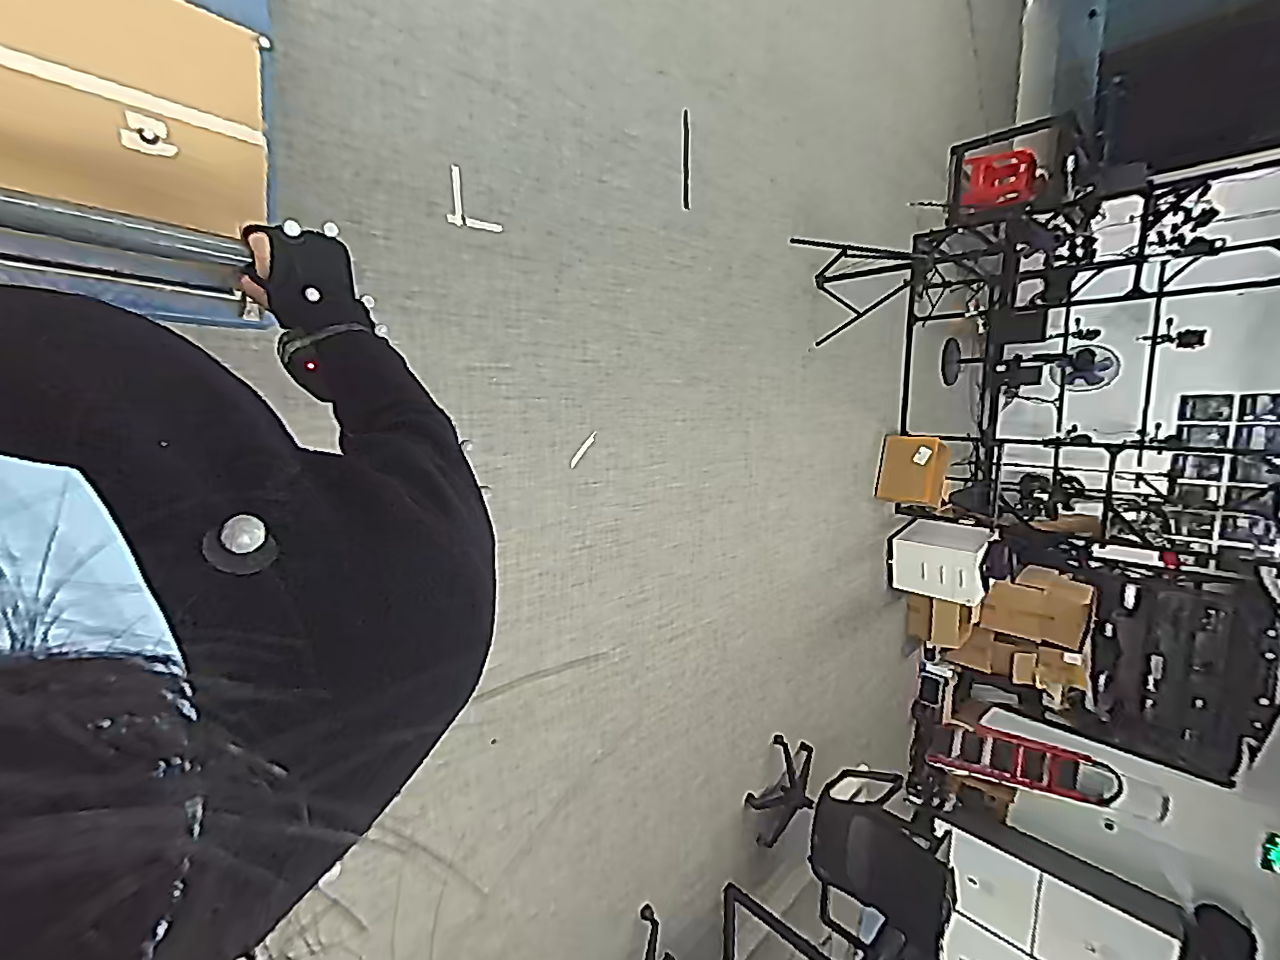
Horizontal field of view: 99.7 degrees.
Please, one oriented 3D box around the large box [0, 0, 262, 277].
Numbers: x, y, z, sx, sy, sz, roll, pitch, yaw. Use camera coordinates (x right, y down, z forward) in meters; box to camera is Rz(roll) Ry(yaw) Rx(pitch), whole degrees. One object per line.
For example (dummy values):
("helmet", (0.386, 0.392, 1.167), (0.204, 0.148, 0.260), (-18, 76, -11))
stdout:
("large box", (-0.841, -0.519, 0.800), (0.408, 0.320, 0.320), (-4, 99, -46))
